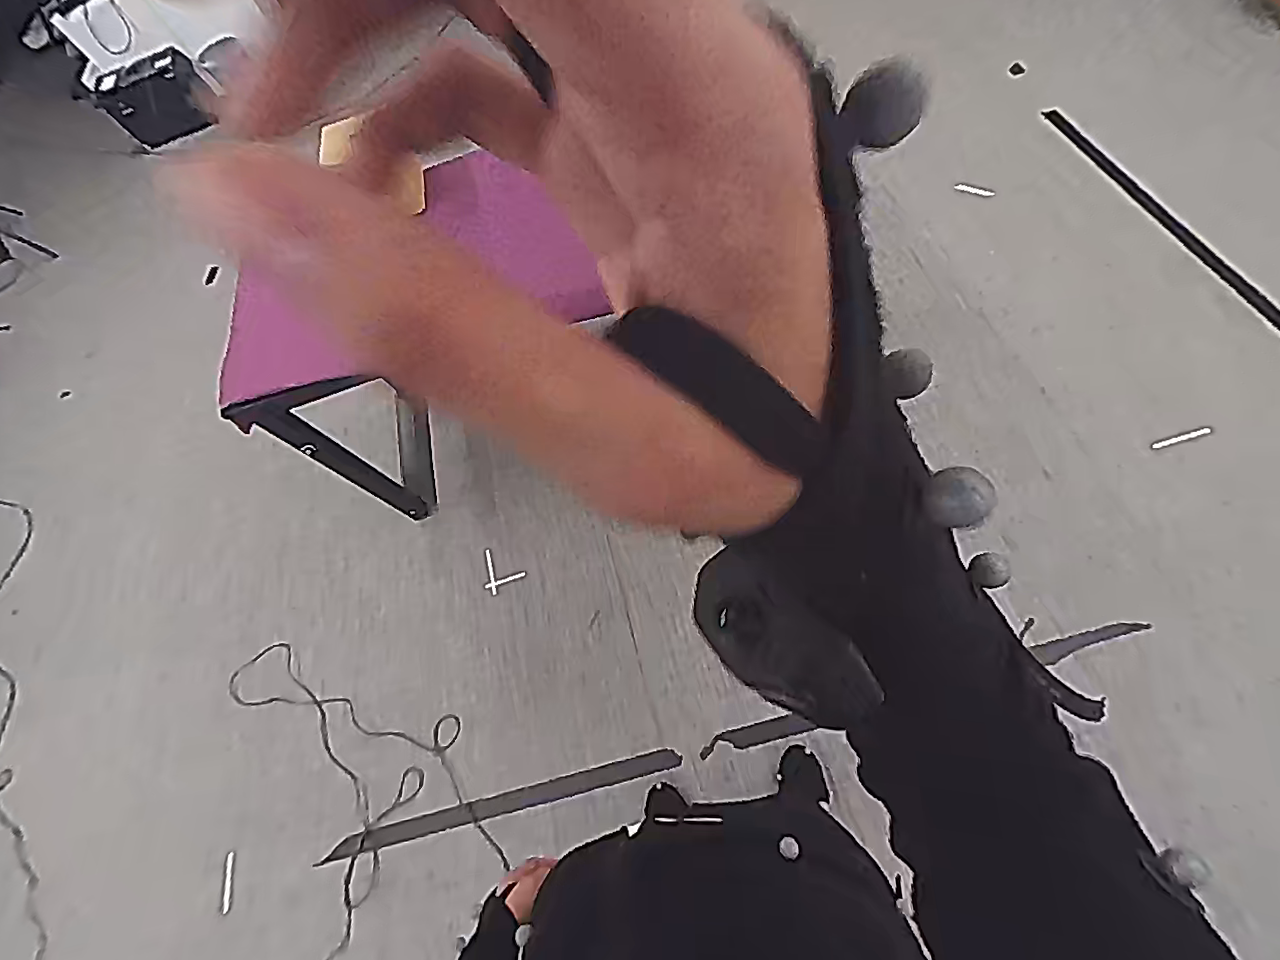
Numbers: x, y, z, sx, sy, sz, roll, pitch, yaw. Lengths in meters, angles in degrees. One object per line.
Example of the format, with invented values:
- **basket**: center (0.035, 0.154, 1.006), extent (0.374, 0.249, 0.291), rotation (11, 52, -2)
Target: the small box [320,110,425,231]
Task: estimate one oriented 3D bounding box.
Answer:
- **small box**: center (-0.648, -0.755, 1.329), extent (0.168, 0.176, 0.179), rotation (-16, 63, 5)
